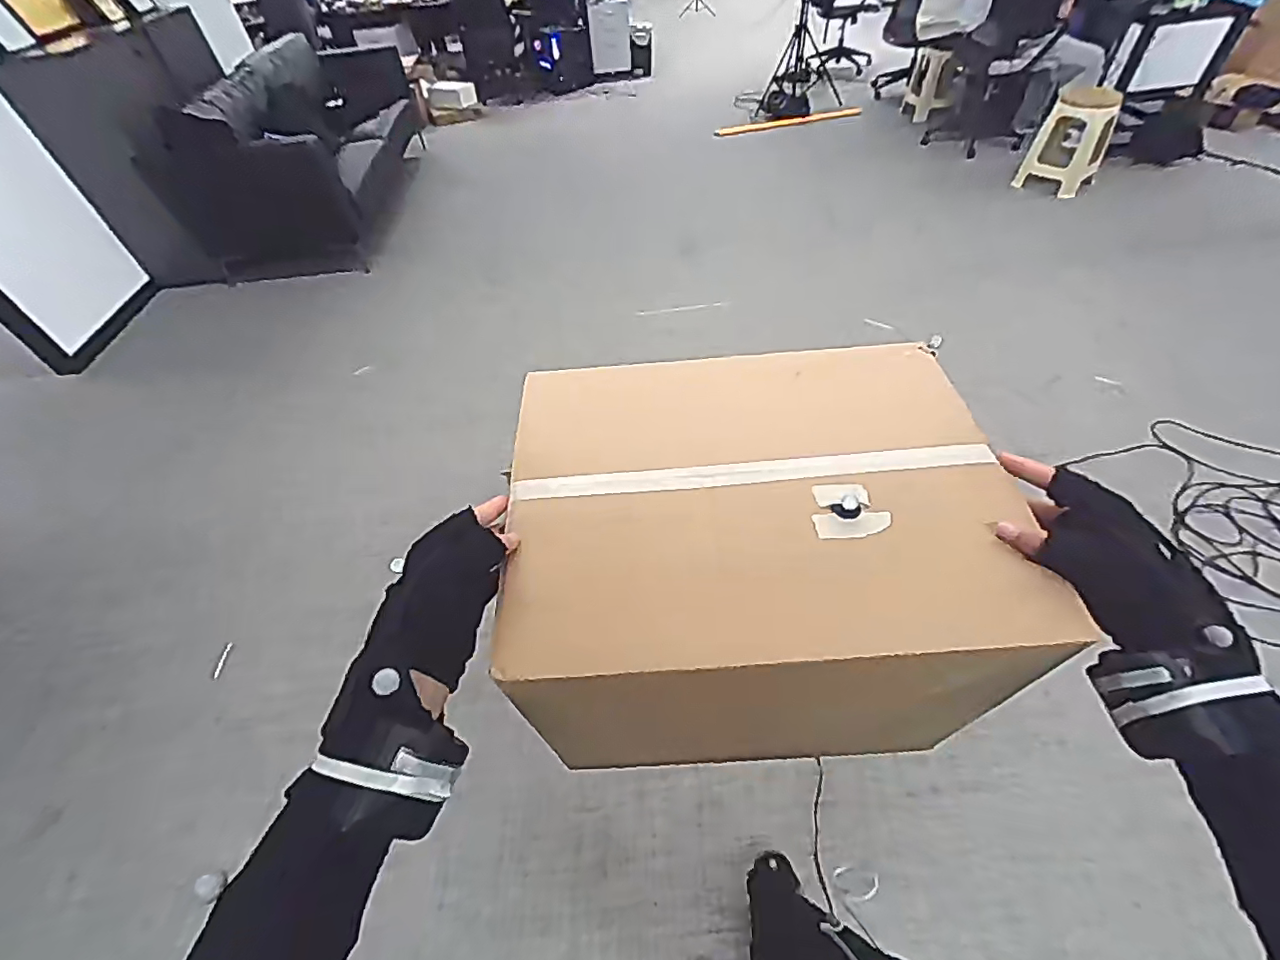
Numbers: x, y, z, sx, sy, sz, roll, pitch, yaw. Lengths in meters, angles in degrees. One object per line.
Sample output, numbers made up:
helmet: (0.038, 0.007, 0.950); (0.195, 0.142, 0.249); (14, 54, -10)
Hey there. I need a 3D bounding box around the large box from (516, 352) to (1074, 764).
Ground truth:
large box: (0.106, 0.093, 0.585); (0.408, 0.320, 0.320); (-4, 52, 0)
